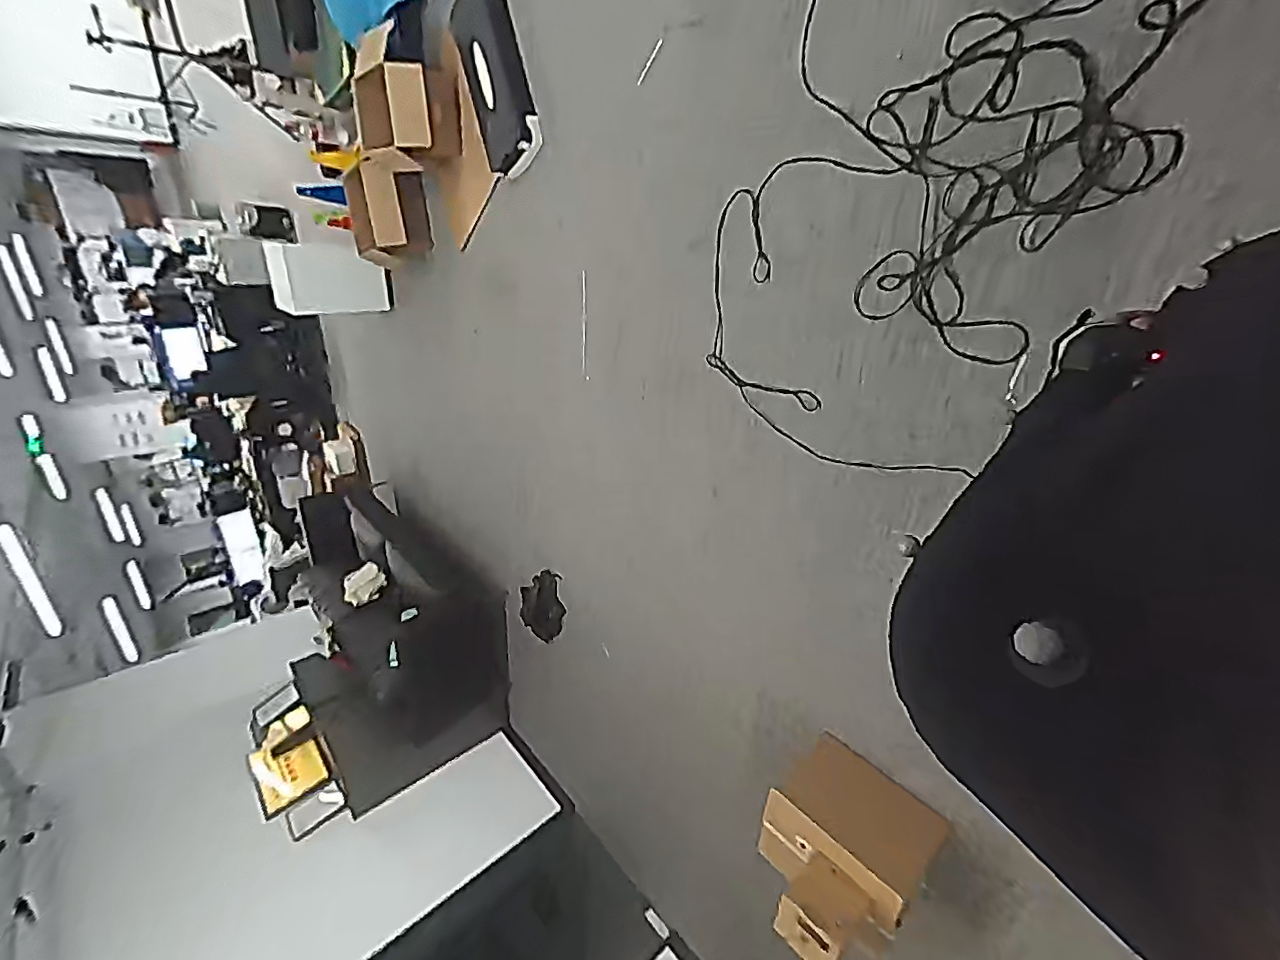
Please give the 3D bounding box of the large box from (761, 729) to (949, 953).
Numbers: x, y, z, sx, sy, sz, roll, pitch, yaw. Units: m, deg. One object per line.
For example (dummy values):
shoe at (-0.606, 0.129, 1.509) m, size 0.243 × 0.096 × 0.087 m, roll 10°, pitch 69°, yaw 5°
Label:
large box at (0.639, 1.064, 1.642) m, size 0.408 × 0.320 × 0.320 m, roll 28°, pitch 124°, yaw 42°
